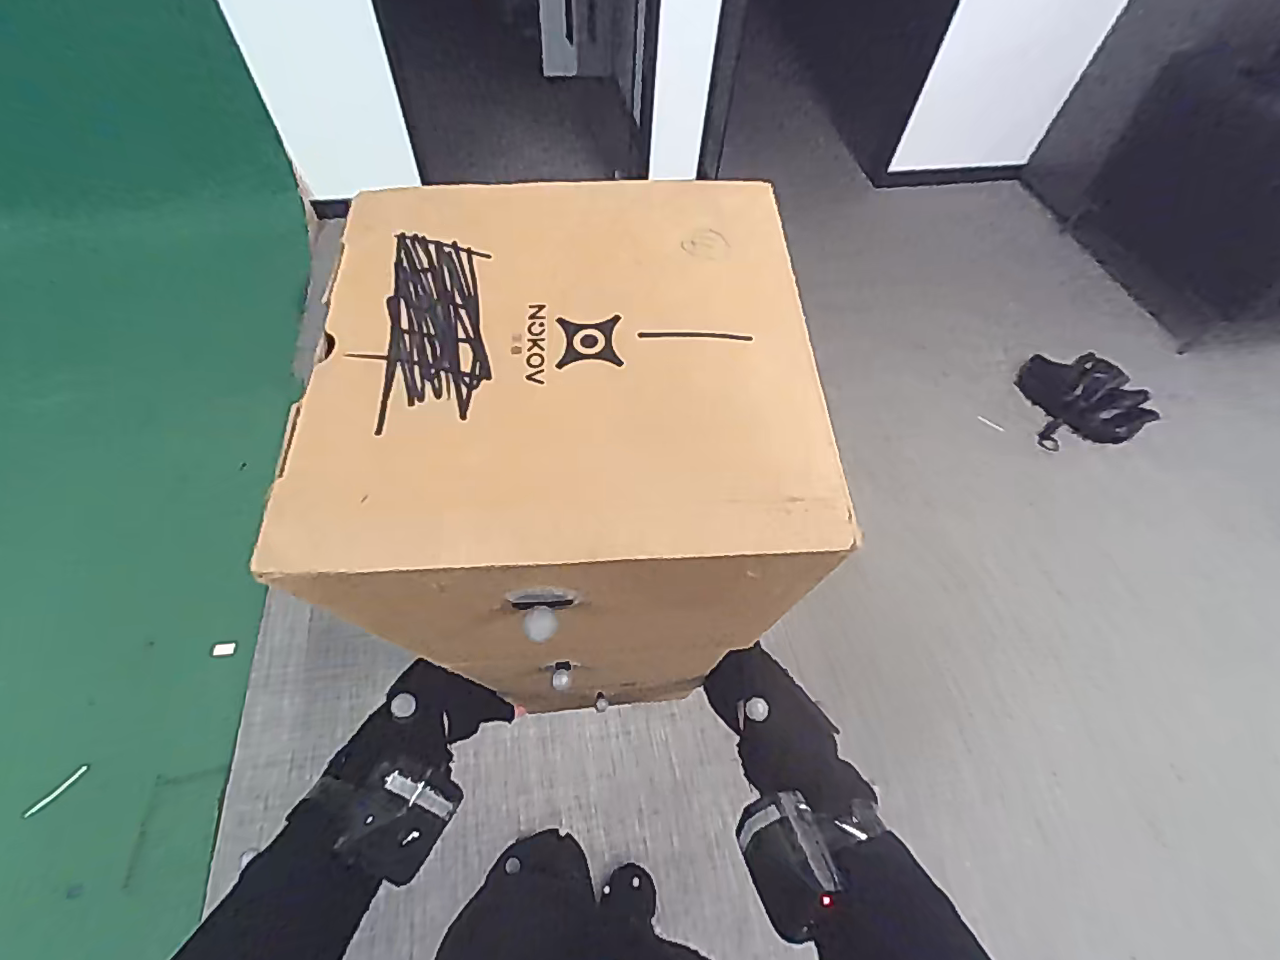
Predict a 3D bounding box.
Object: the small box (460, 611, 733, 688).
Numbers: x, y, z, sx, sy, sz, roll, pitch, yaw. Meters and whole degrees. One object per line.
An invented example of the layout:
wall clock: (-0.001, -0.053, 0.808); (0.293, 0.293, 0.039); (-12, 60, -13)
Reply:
small box: (-0.037, 0.055, 0.427); (0.168, 0.176, 0.179); (-5, 64, -5)

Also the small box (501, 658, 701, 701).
small box: (-0.042, 0.132, 0.569); (0.179, 0.176, 0.168); (-4, 64, -5)

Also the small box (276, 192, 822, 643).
small box: (-0.032, -0.017, 0.276); (0.179, 0.176, 0.168); (-2, 63, -3)
